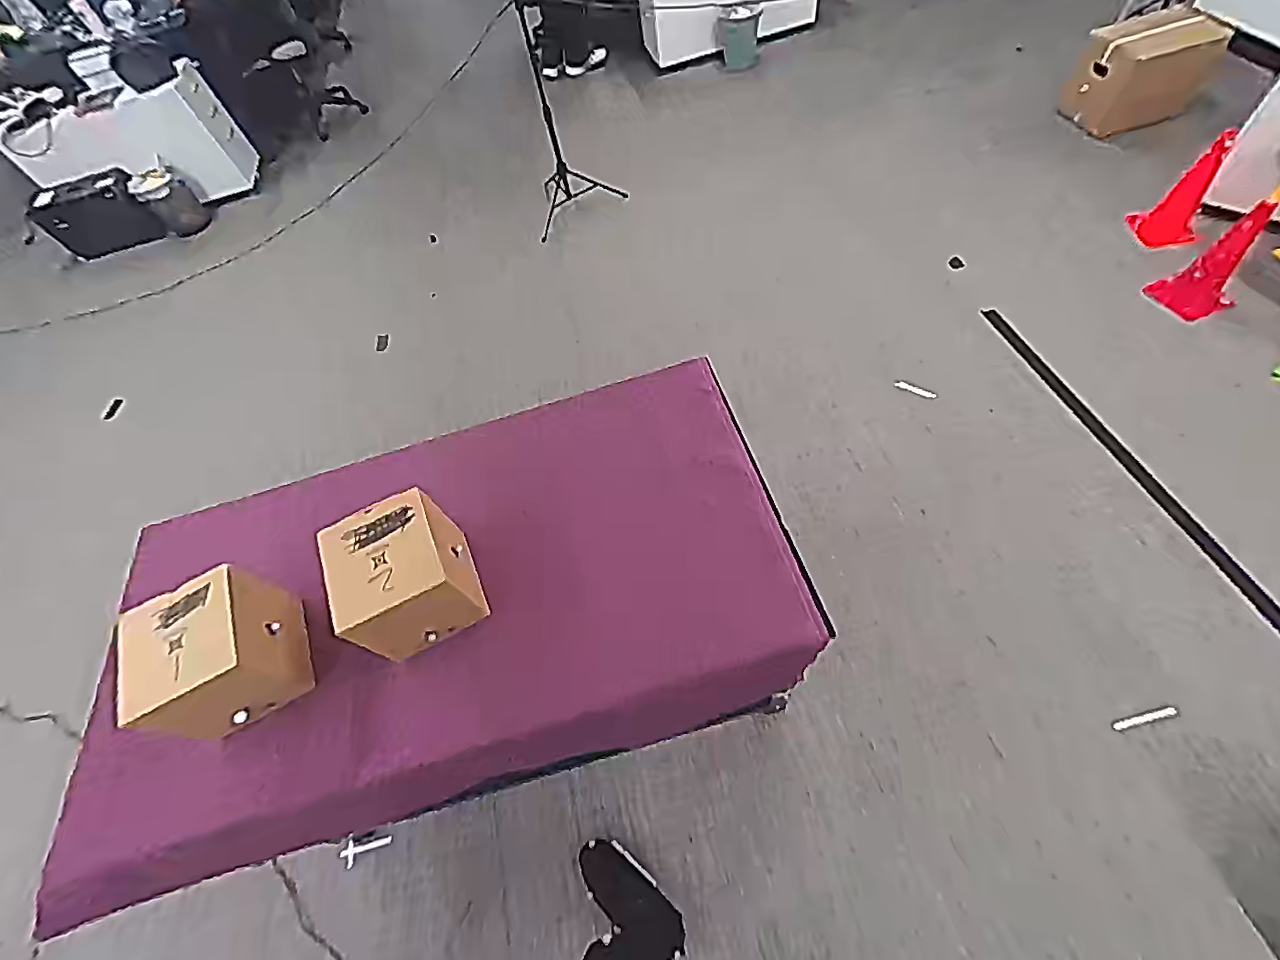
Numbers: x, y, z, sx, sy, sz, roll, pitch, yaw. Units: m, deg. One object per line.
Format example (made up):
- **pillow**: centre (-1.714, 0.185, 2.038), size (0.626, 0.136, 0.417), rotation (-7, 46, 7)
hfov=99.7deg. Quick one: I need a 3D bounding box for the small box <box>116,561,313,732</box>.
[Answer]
- **small box**: centre (-0.643, 0.262, 0.833), size (0.168, 0.176, 0.179), rotation (-28, 59, -7)
